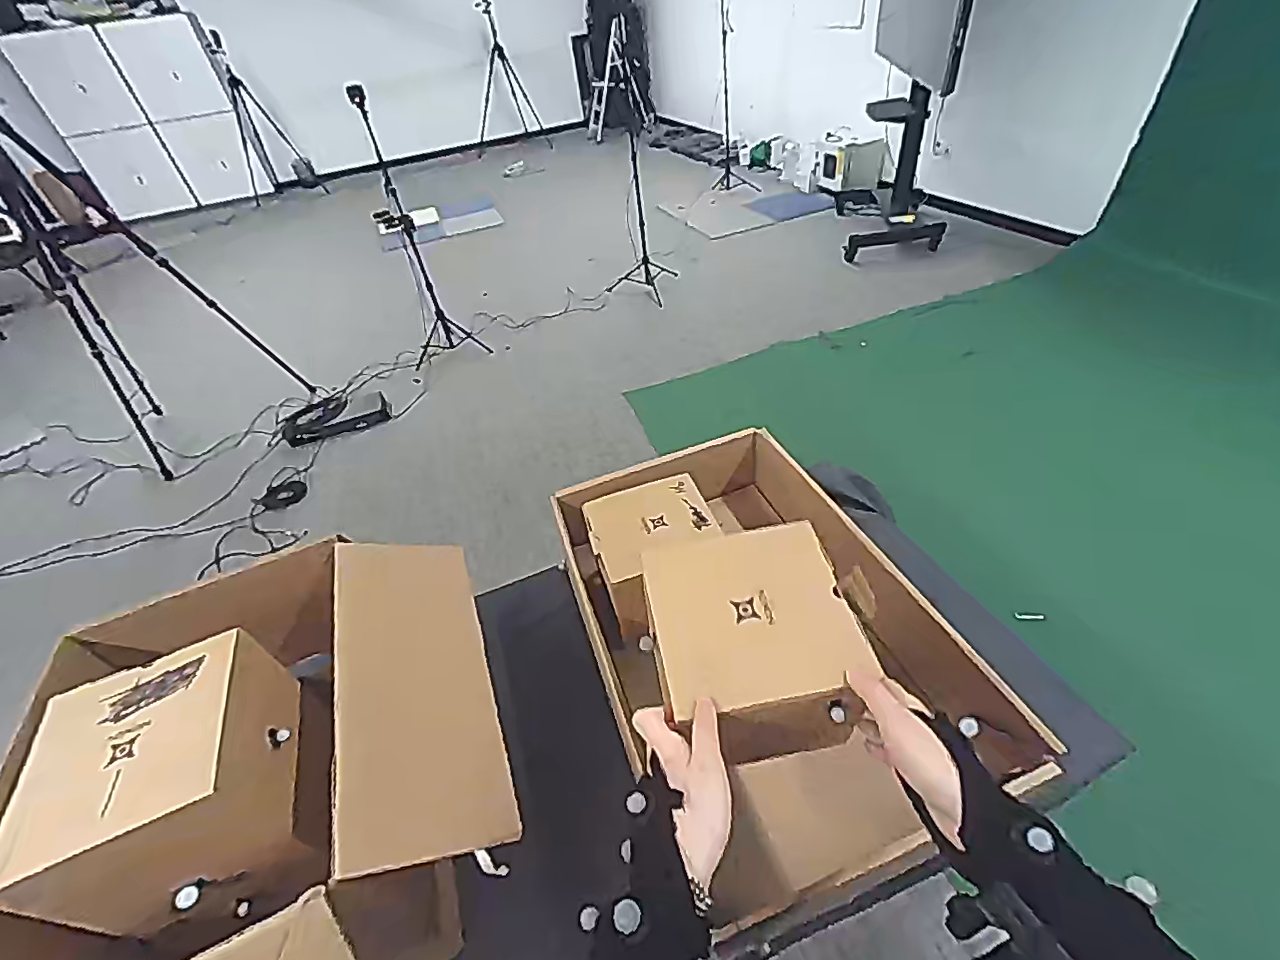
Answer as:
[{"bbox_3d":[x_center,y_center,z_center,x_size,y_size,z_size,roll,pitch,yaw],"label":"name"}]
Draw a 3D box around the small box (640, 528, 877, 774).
[{"bbox_3d":[0.103,0.175,0.545,0.179,0.176,0.168,-10,48,-4],"label":"small box"}]
